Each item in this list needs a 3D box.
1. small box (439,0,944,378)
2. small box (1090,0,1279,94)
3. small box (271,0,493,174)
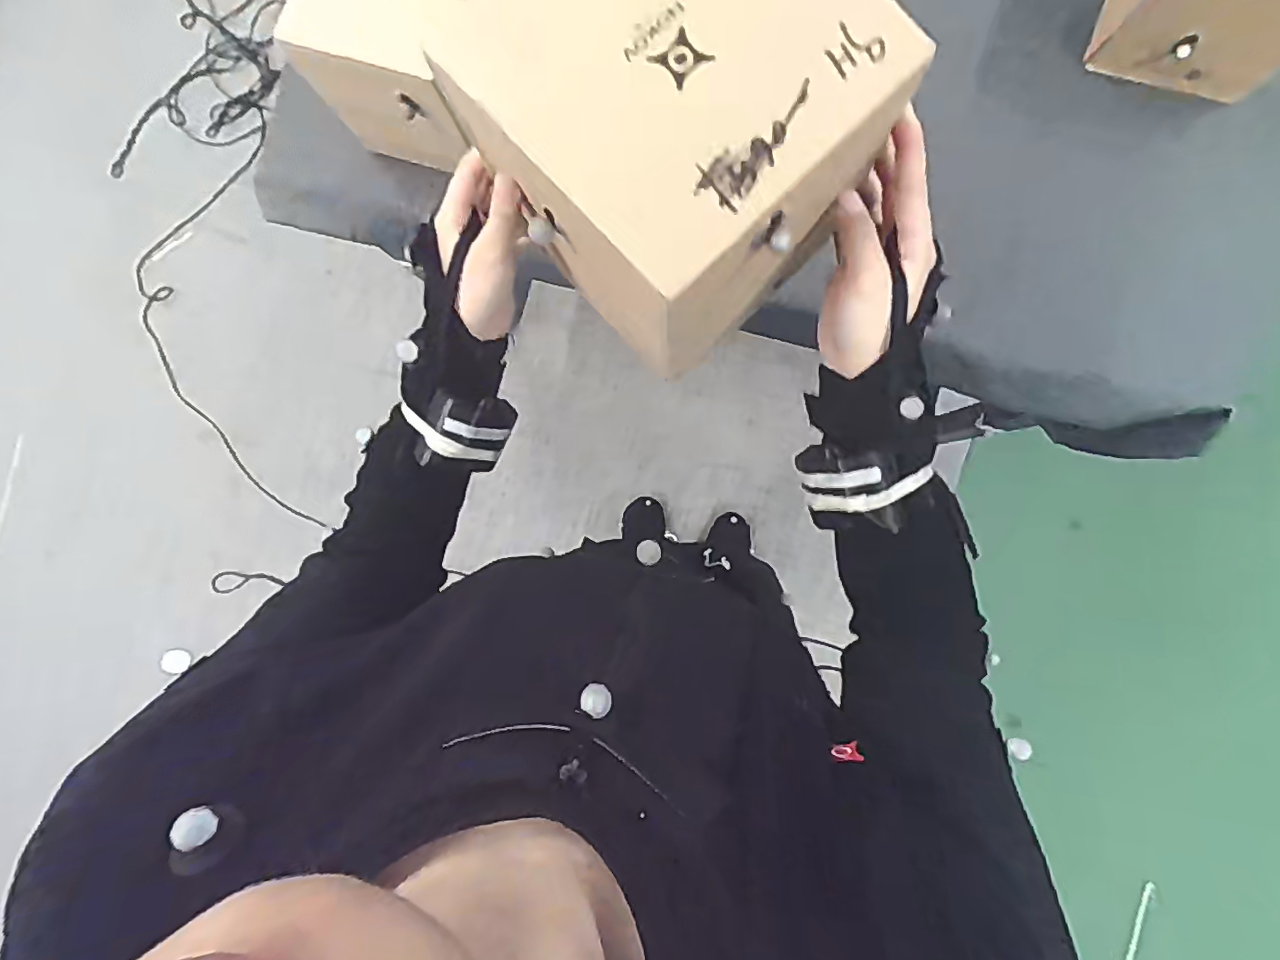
[{"bbox_3d":[0.024,-0.188,0.326,0.168,0.176,0.179,-43,85,1],"label":"small box"},{"bbox_3d":[0.597,-0.532,0.525,0.168,0.176,0.179,18,93,6],"label":"small box"},{"bbox_3d":[-0.248,-0.478,0.600,0.179,0.176,0.168,18,89,5],"label":"small box"}]
